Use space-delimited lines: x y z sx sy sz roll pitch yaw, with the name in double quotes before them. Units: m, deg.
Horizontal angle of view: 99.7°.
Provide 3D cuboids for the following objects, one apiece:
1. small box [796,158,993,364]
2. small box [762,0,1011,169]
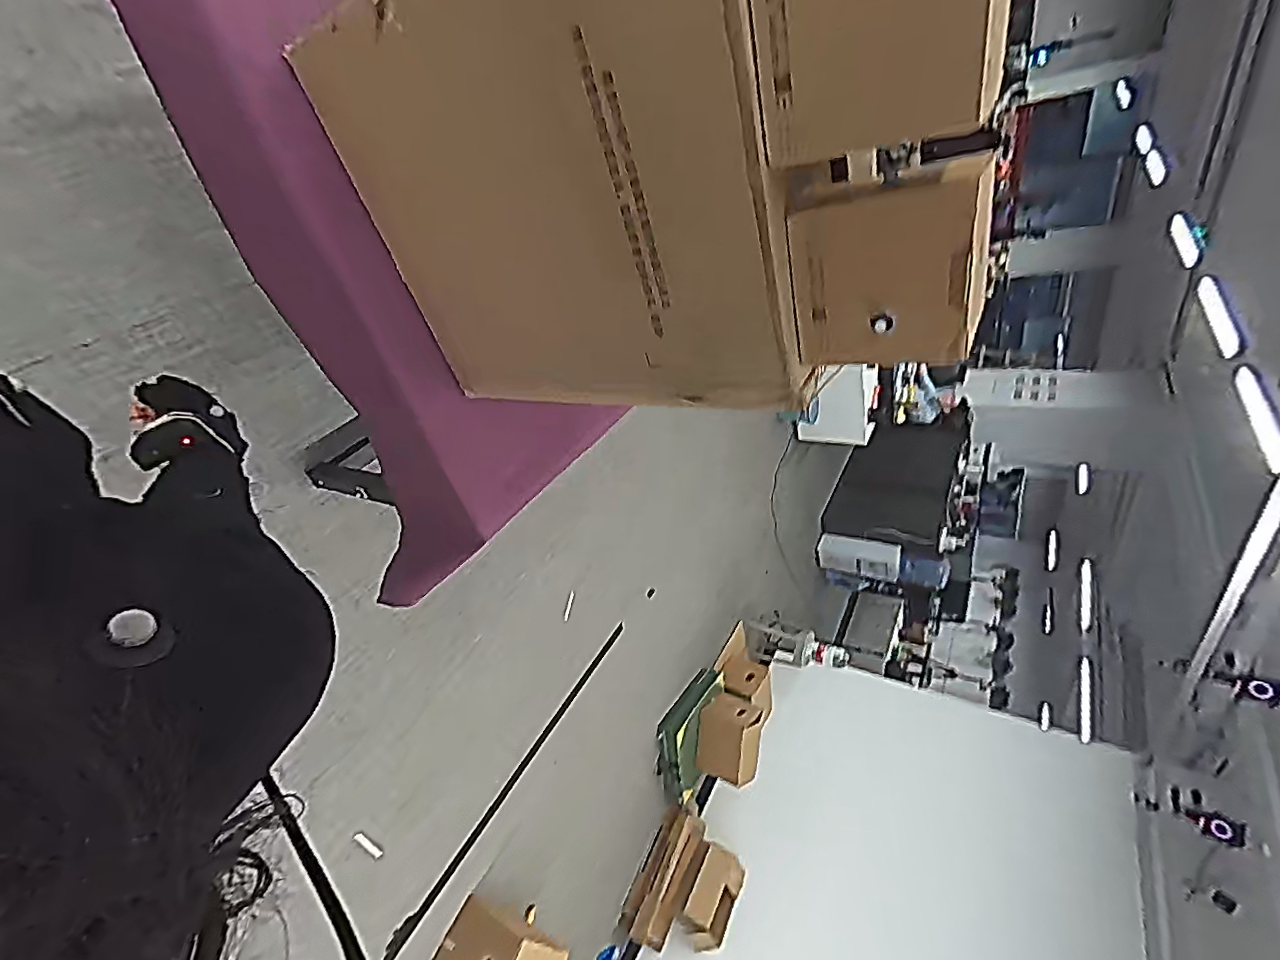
"small box" 0.276 -0.233 0.593 0.179 0.176 0.168 -48 134 -43
"small box" 0.212 -0.384 0.458 0.179 0.176 0.168 -52 137 -39
